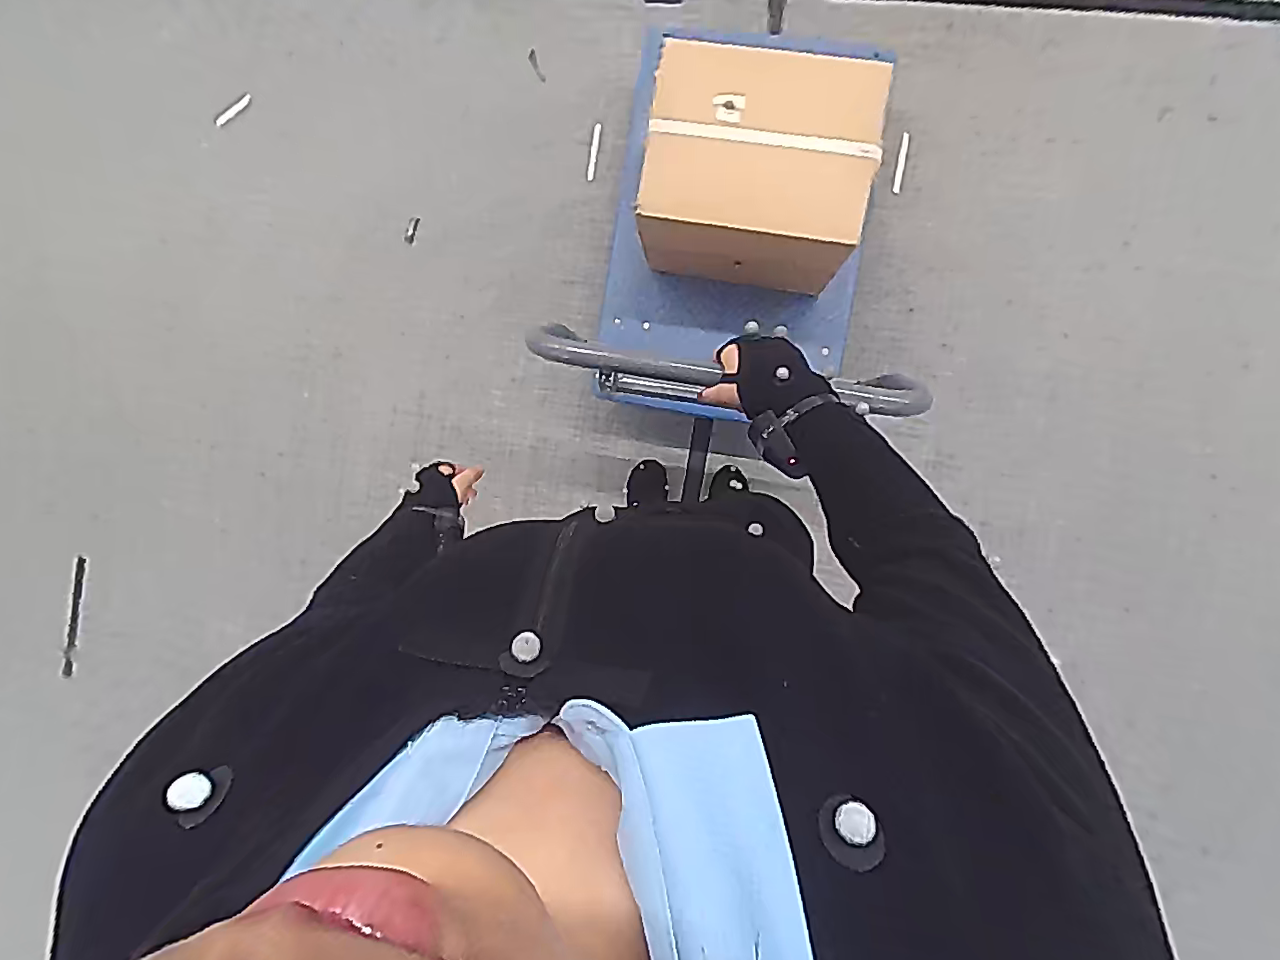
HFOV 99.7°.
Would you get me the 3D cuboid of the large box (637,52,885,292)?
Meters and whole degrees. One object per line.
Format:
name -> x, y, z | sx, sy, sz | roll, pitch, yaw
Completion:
large box -> 0.232, -0.609, 1.124 | 0.408, 0.320, 0.320 | 11, 93, 6
